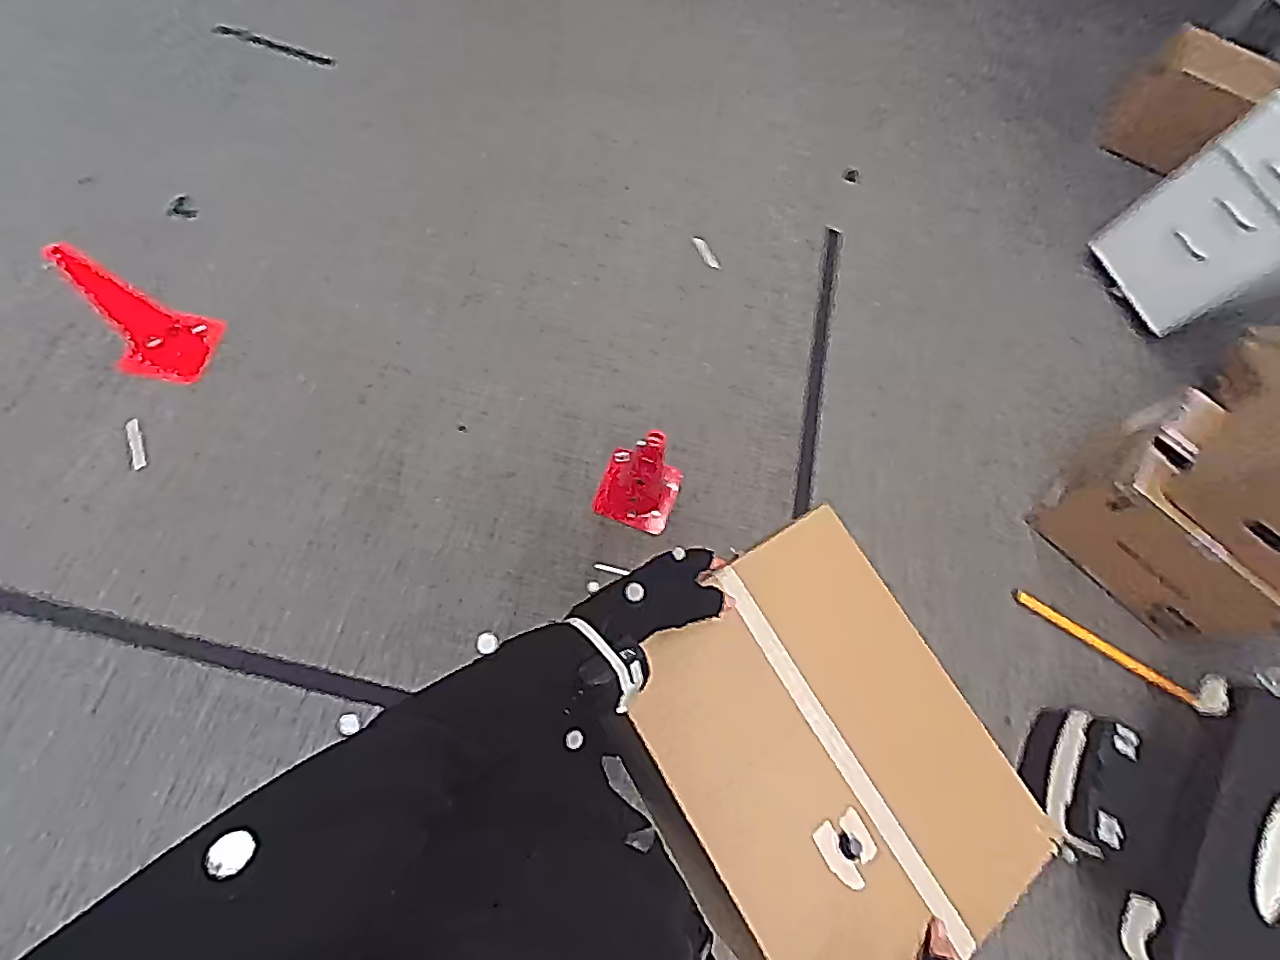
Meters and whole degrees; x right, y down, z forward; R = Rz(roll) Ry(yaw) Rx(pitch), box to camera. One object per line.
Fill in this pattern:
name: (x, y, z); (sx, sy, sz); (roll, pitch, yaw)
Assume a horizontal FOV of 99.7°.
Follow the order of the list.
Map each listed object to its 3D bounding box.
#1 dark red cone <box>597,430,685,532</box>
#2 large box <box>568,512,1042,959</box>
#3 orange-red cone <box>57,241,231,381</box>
dark red cone: (0.026, -0.029, 1.282); (0.202, 0.394, 0.201); (20, 71, 0)
large box: (0.153, 0.313, 0.671); (0.320, 0.320, 0.408); (-28, 79, -20)
orange-red cone: (-1.214, -0.423, 1.290); (0.199, 0.360, 0.198); (12, 69, -1)
